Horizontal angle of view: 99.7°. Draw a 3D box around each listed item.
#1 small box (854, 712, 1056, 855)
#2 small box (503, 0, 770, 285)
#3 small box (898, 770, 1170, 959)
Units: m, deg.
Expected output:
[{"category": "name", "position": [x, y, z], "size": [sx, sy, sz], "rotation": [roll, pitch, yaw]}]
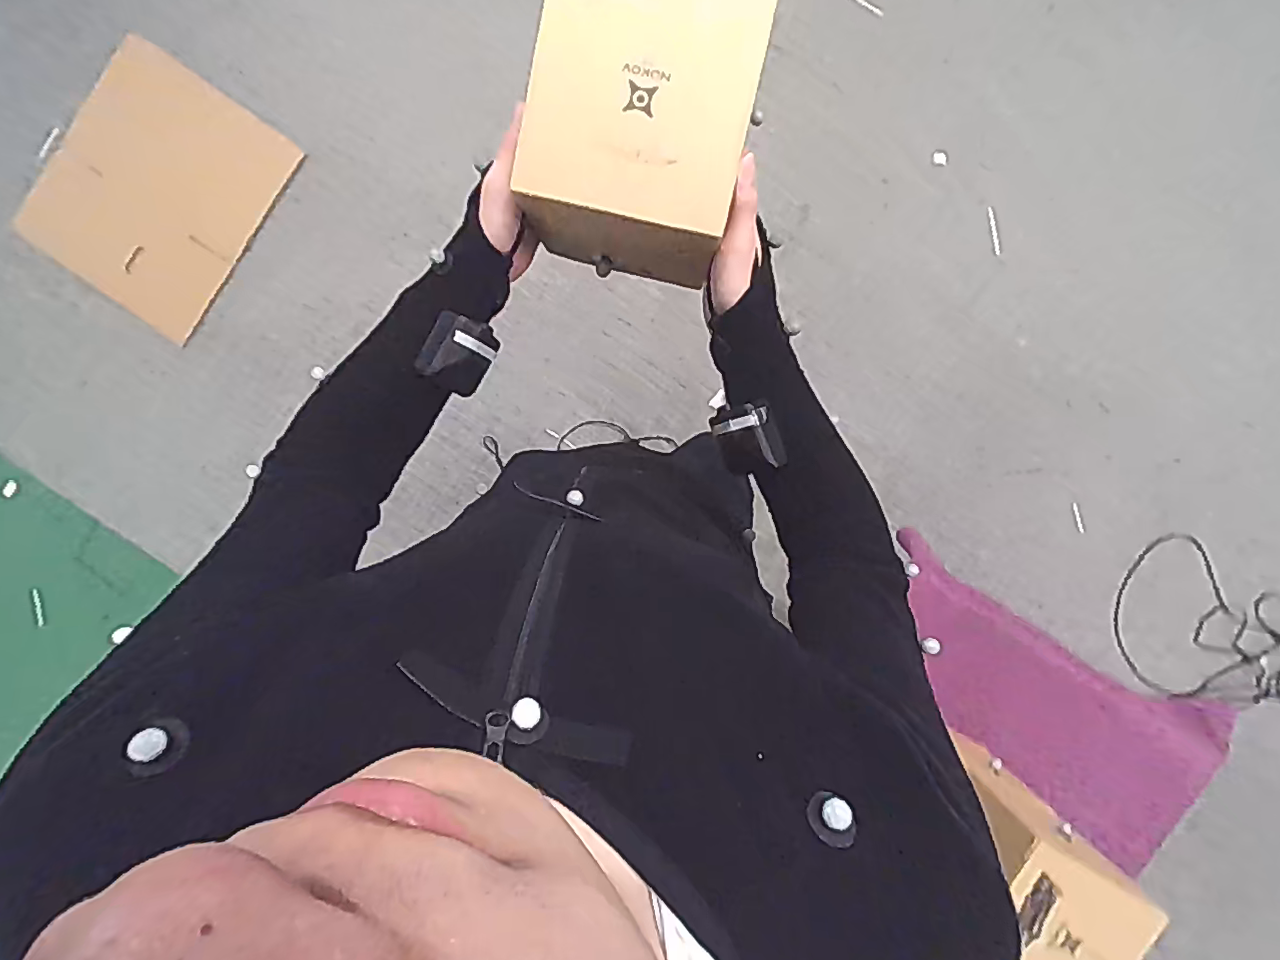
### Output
[{"category": "small box", "position": [0.467, 0.491, 0.834], "size": [0.179, 0.176, 0.168], "rotation": [30, 93, -1]}, {"category": "small box", "position": [-0.003, -0.291, 0.470], "size": [0.168, 0.176, 0.179], "rotation": [12, 97, 0]}, {"category": "small box", "position": [0.463, 0.500, 0.670], "size": [0.179, 0.176, 0.168], "rotation": [31, 93, -2]}]
